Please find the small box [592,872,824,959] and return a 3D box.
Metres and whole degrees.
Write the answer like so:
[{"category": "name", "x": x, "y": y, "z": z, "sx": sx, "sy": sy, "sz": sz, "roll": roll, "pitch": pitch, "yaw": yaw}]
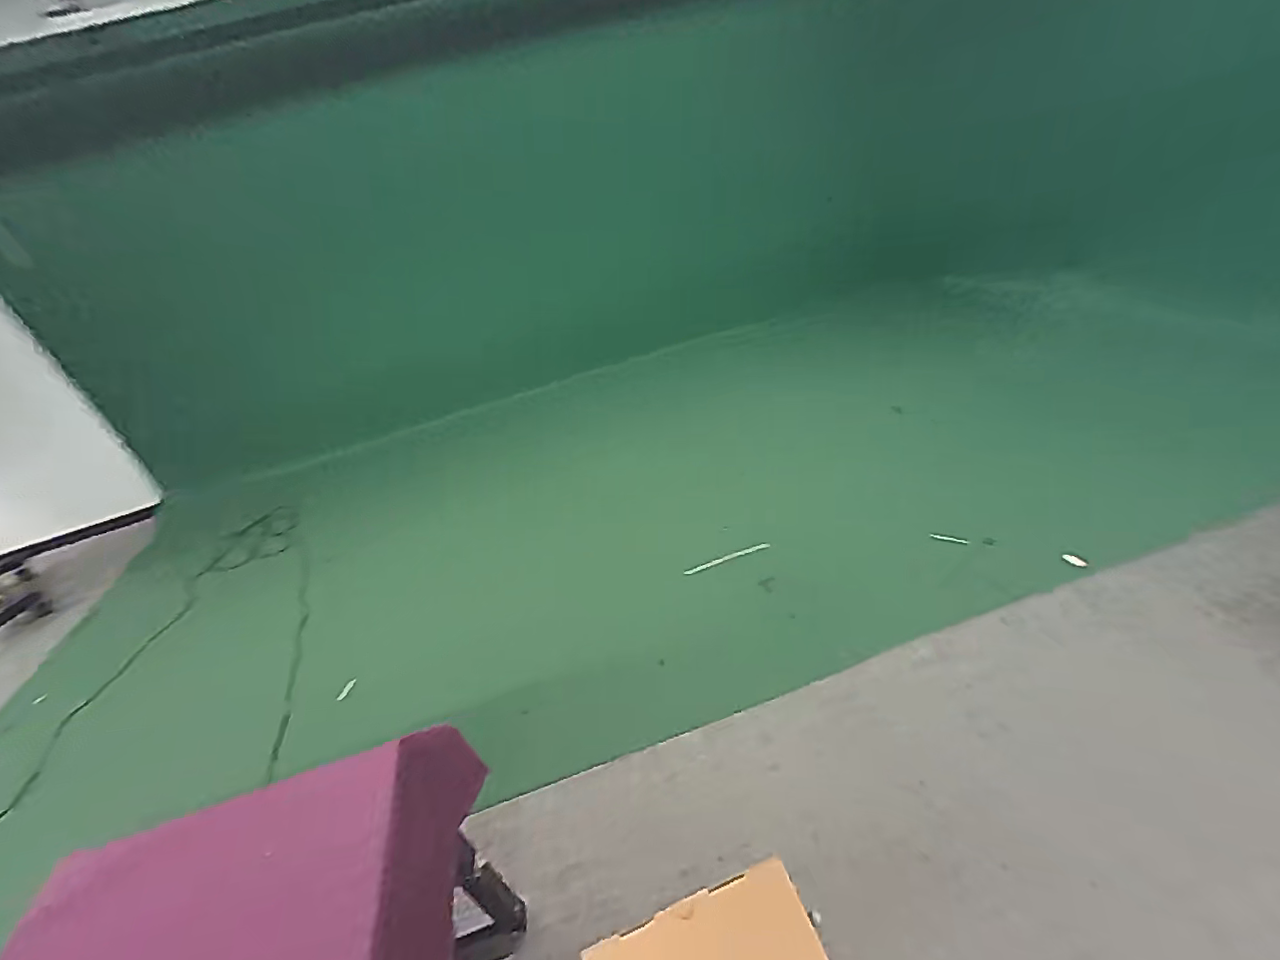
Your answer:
[{"category": "small box", "x": 0.080, "y": 0.441, "z": 0.399, "sx": 0.168, "sy": 0.176, "sz": 0.179, "roll": -21, "pitch": 38, "yaw": -6}]
